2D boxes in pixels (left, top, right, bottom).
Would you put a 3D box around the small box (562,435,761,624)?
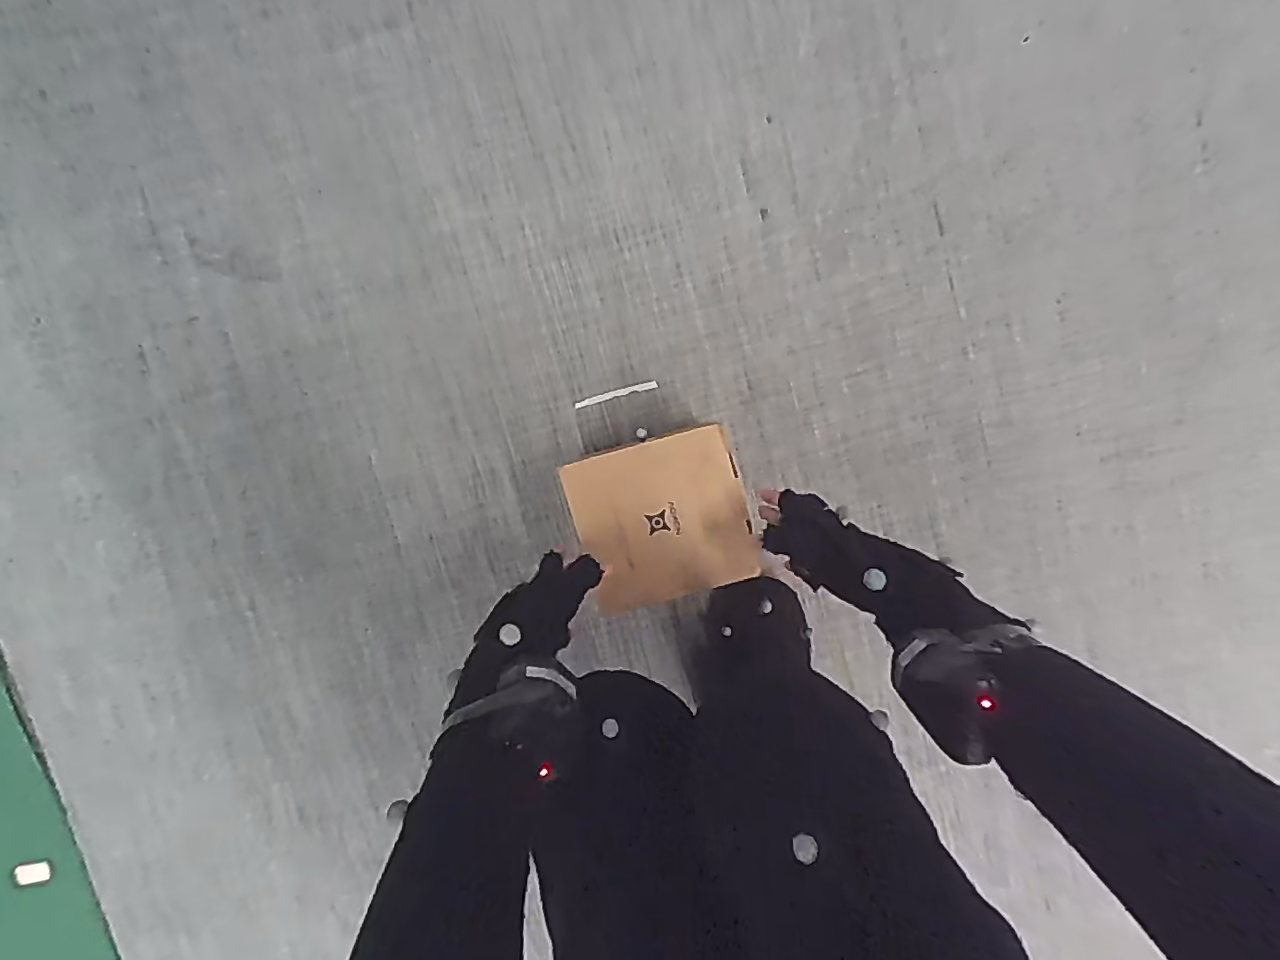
[{"bbox_3d":[0.023,0.045,0.638,0.179,0.176,0.168,-16,94,3],"label":"small box"}]
